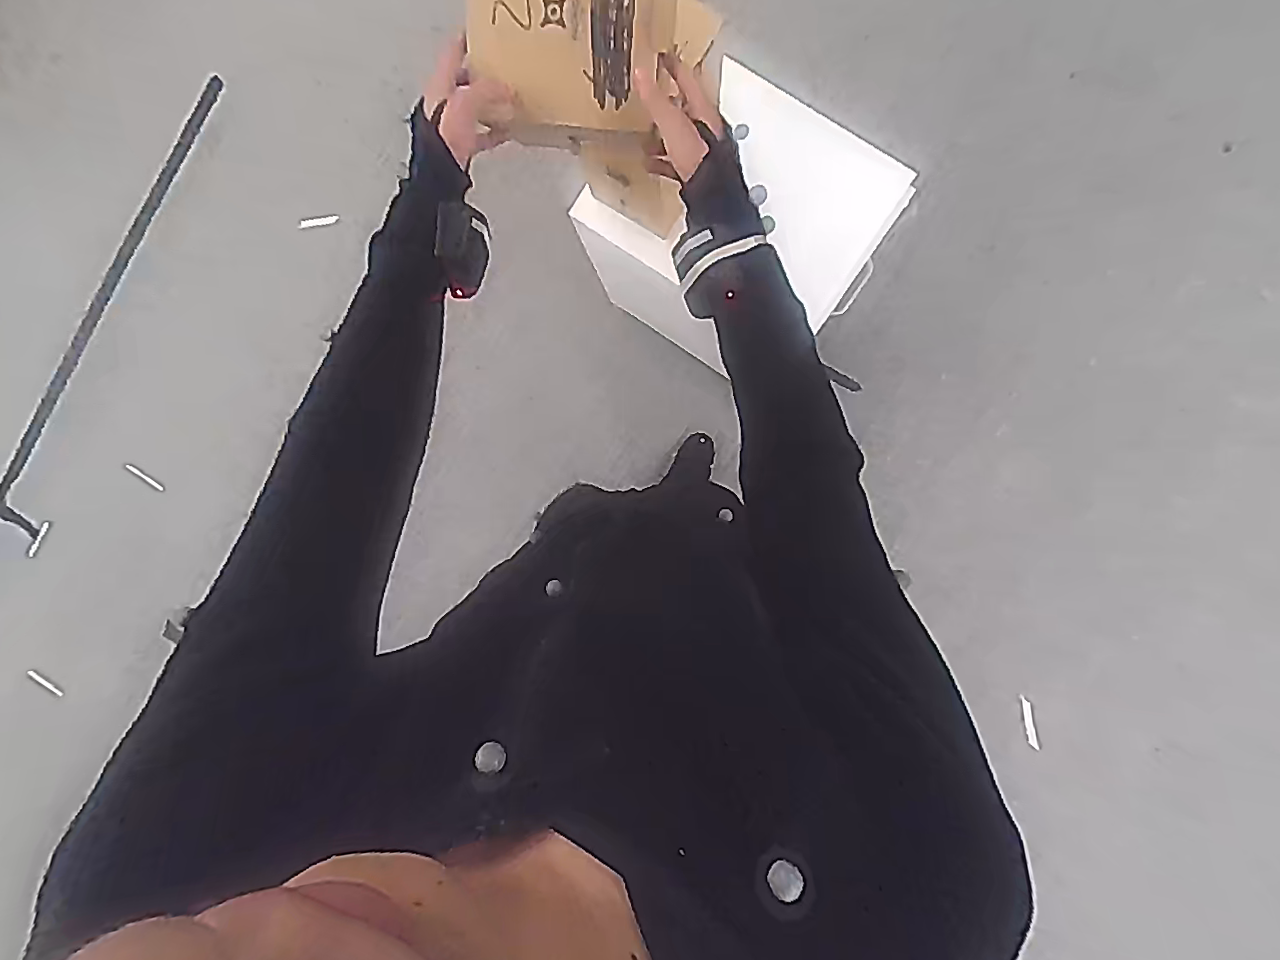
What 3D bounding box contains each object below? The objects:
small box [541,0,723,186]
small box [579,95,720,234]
[{"bbox_3d":[-0.004,-0.551,0.756,0.179,0.176,0.168,34,95,4],"label":"small box"},{"bbox_3d":[0.017,-0.562,0.919,0.168,0.176,0.179,33,95,3],"label":"small box"}]
